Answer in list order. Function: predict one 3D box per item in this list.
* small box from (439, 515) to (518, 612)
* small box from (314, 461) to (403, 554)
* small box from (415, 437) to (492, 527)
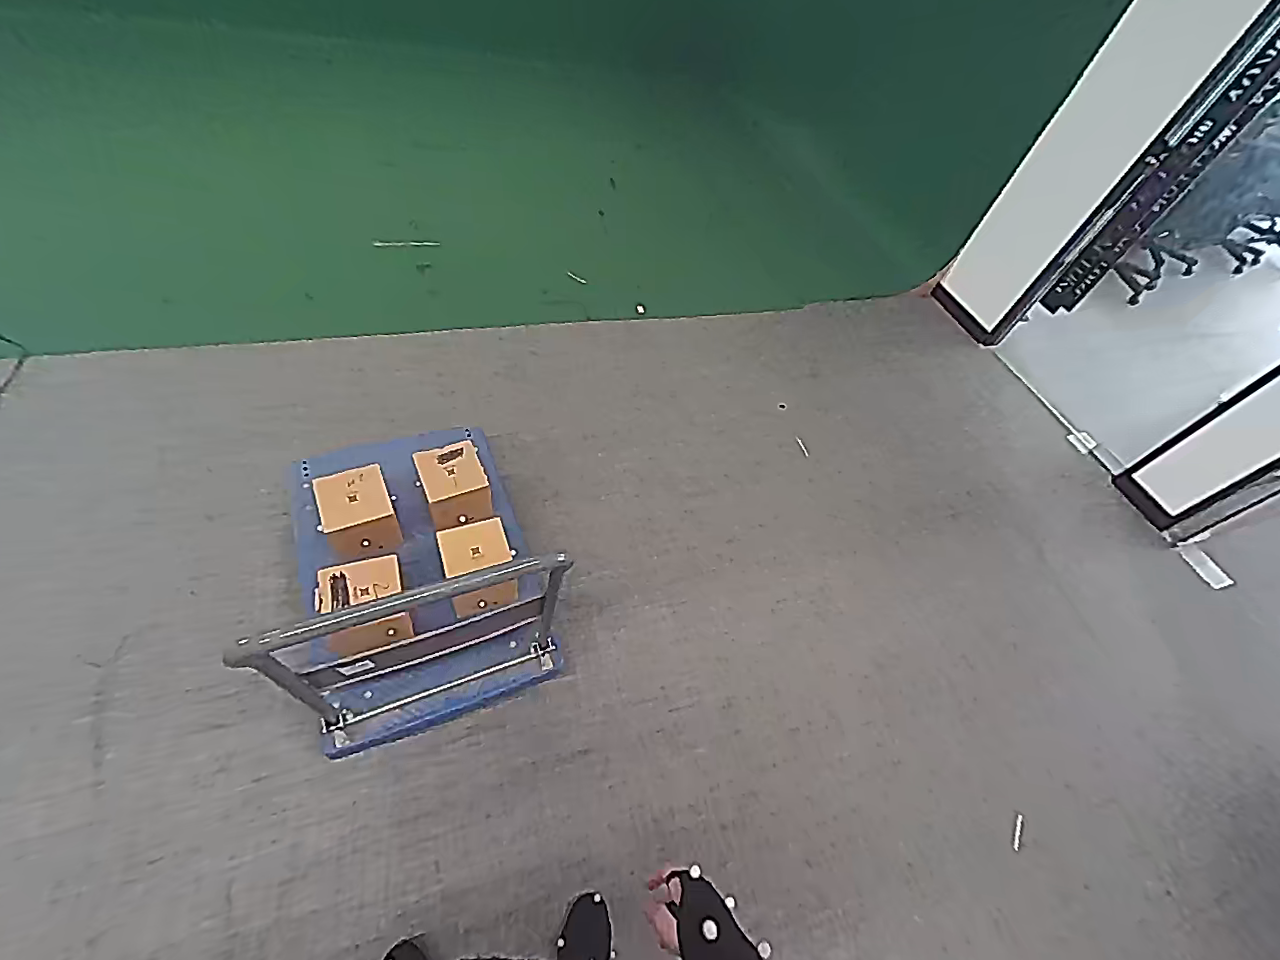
[{"bbox_3d":[-0.428,0.223,1.435,0.168,0.176,0.179,-13,59,-21],"label":"small box"},{"bbox_3d":[-0.754,0.081,1.461,0.168,0.176,0.179,-17,60,-24],"label":"small box"},{"bbox_3d":[-0.535,0.009,1.562,0.168,0.176,0.179,-18,62,-22],"label":"small box"}]
